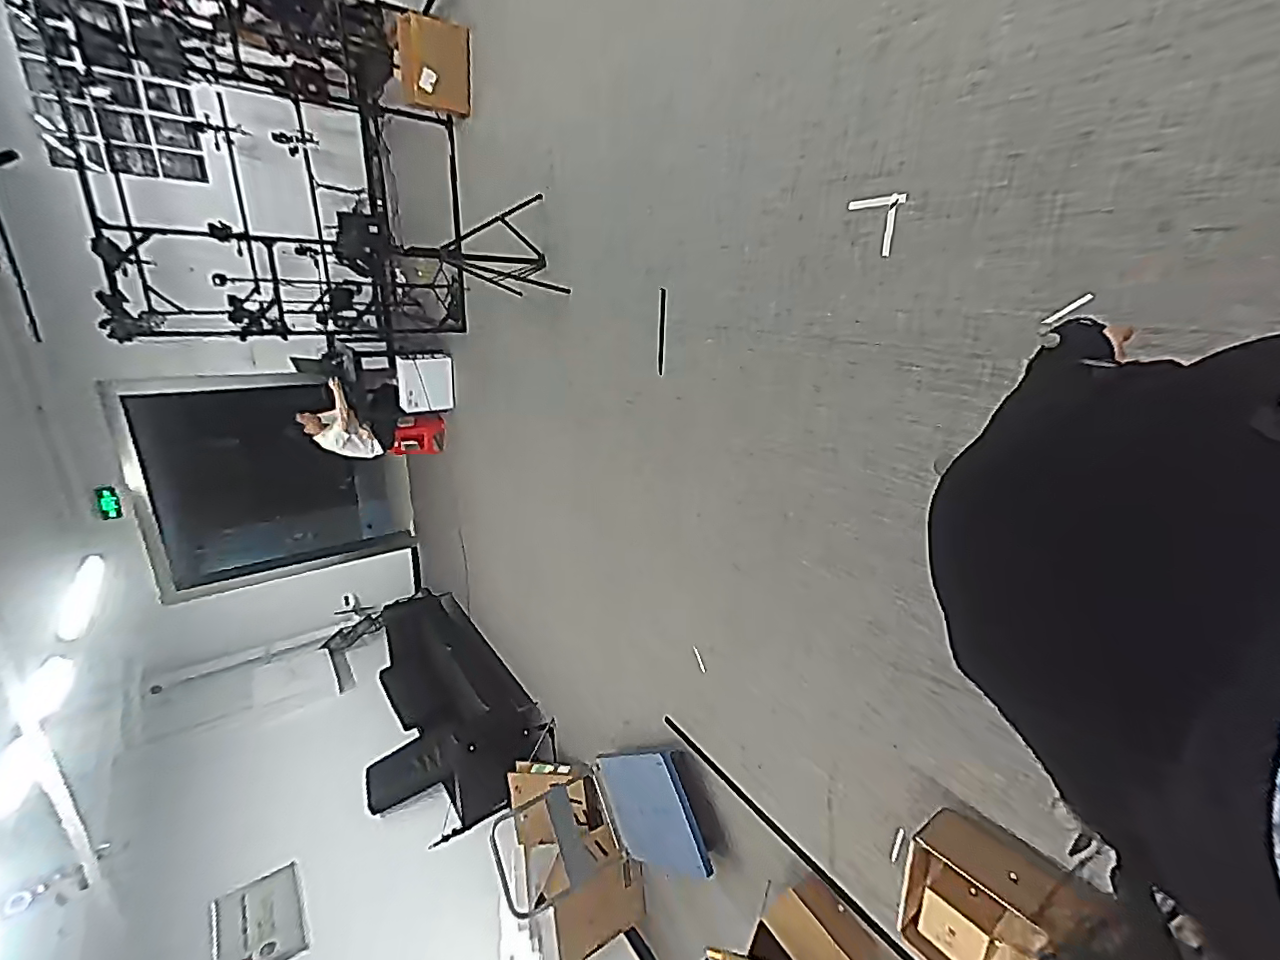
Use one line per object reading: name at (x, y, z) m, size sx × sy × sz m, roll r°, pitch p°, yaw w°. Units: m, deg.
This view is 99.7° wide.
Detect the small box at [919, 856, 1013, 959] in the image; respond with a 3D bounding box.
small box at (0.928, 1.230, 1.535) m, size 0.168 × 0.176 × 0.179 m, roll 23°, pitch 119°, yaw 50°
